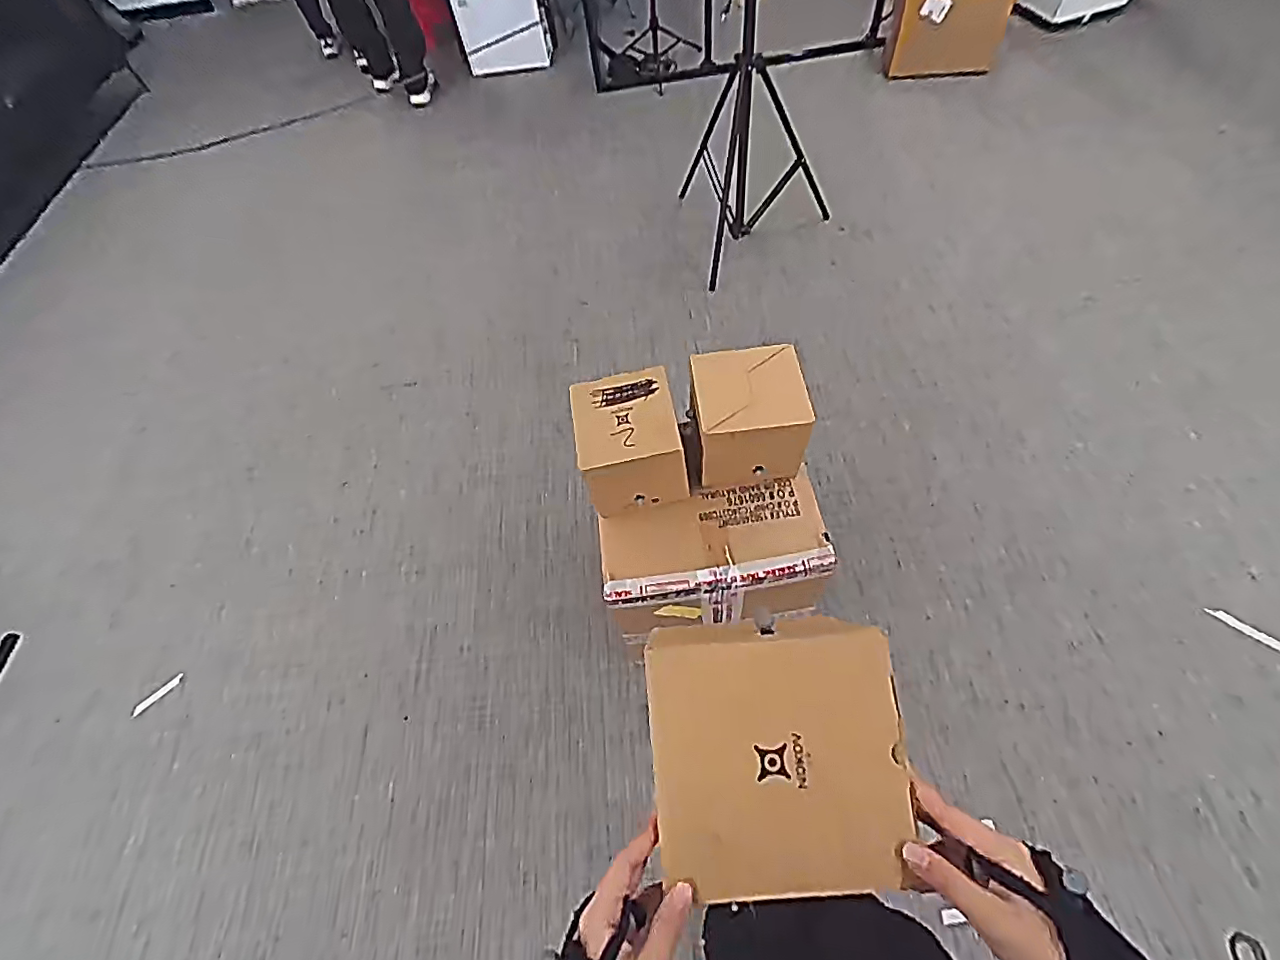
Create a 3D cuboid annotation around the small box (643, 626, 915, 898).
[{"bbox_3d":[0.098,0.217,0.461,0.179,0.176,0.168,-5,78,1],"label":"small box"}]
